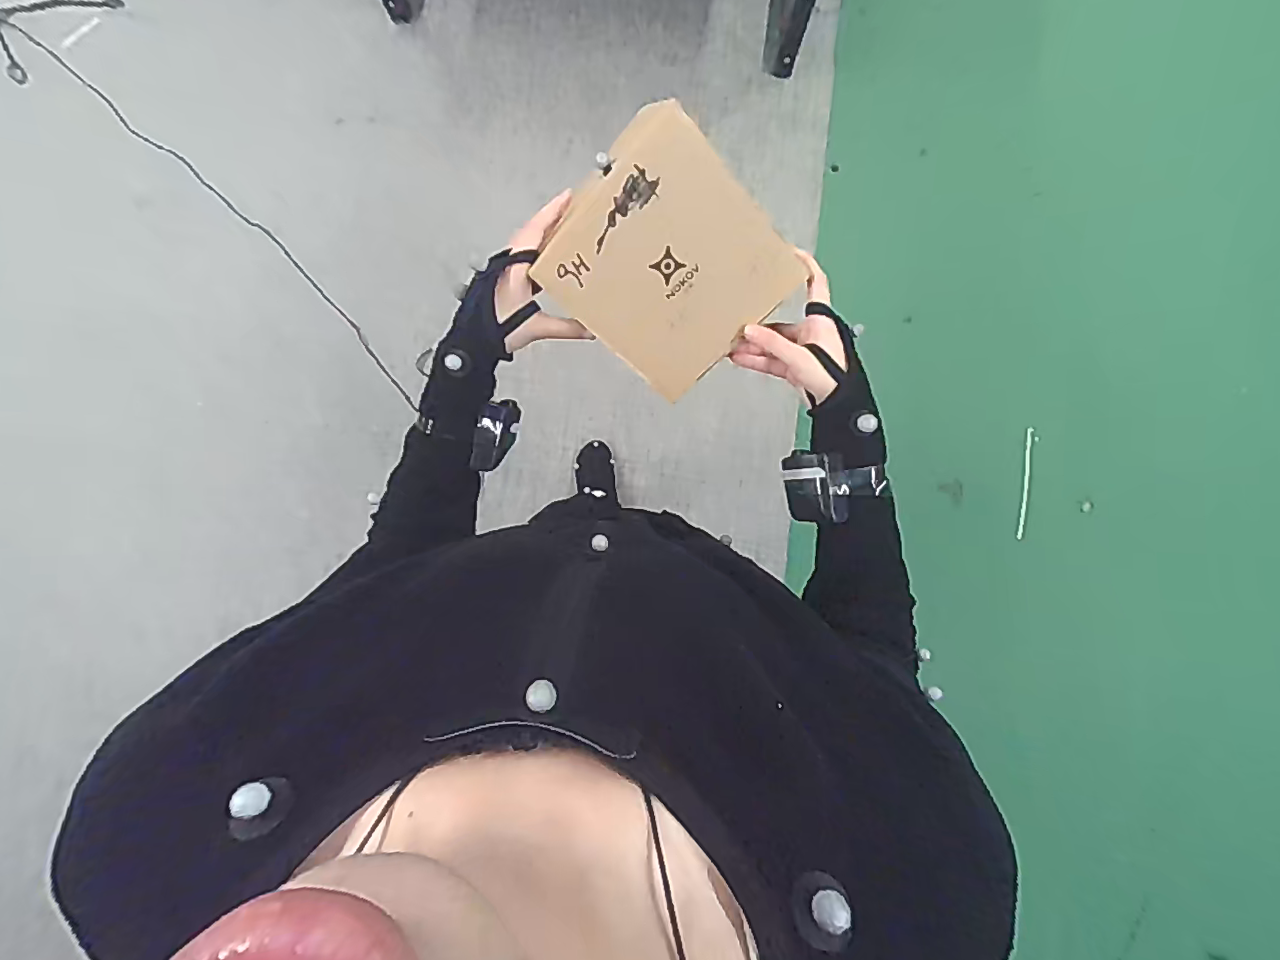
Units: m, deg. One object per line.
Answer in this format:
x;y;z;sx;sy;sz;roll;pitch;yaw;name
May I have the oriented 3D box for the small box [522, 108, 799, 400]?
0.012;-0.215;0.509;0.168;0.176;0.179;-41;120;20;small box
